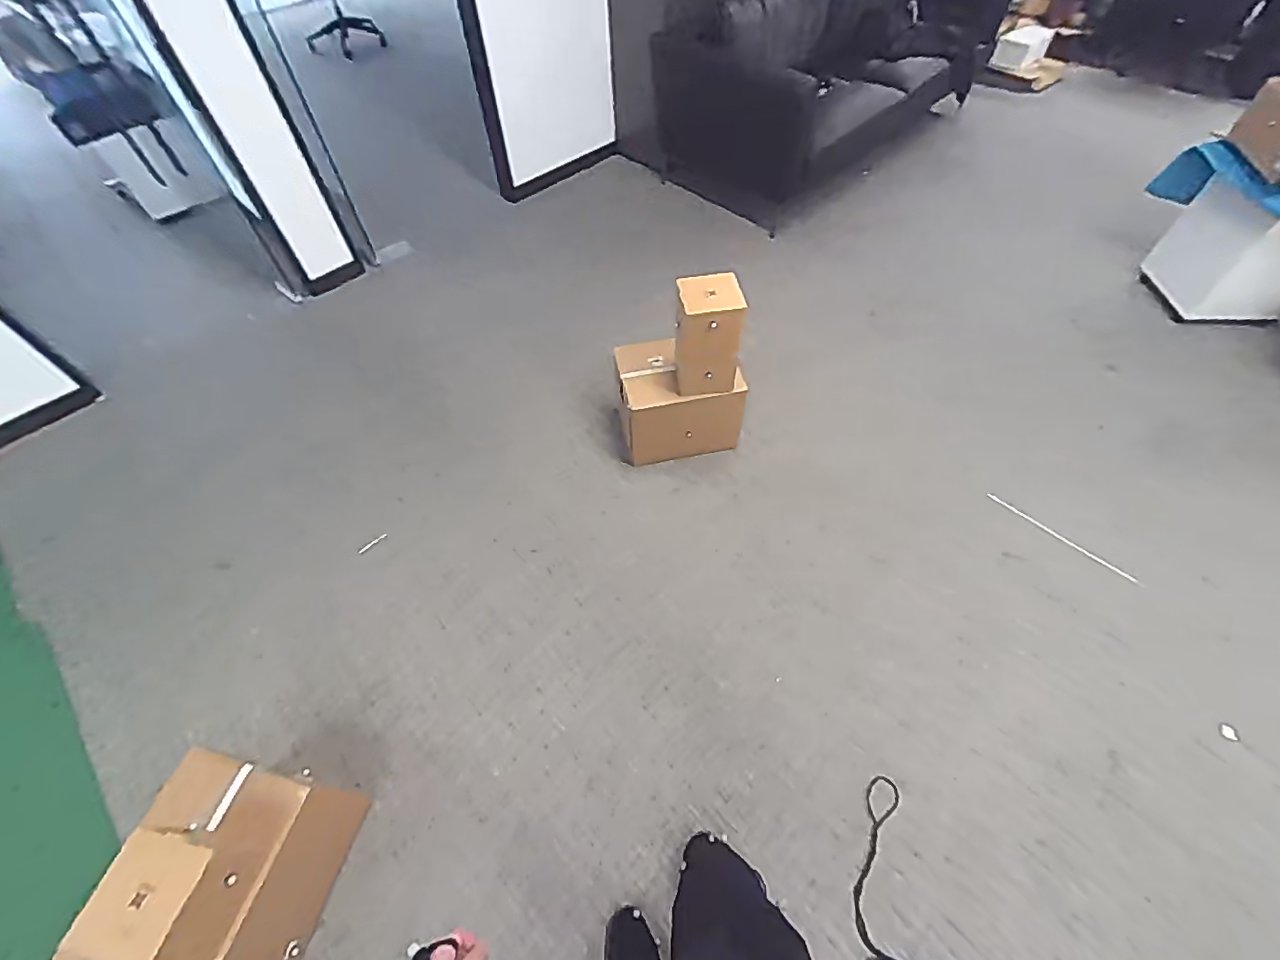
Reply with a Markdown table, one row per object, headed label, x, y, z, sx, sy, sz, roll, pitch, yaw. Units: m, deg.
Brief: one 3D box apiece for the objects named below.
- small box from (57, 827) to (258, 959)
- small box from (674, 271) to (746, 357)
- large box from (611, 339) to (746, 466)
| label | x | y | z | sx | sy | sz | roll | pitch | yaw |
| --- | --- | --- | --- | --- | --- | --- | --- | --- | --- |
| small box | -0.830 | 0.743 | 0.960 | 0.168 | 0.176 | 0.179 | 11 | 57 | 9 |
| small box | 0.200 | -0.488 | 1.603 | 0.179 | 0.176 | 0.168 | -9 | 56 | -3 |
| large box | 0.130 | -0.290 | 1.964 | 0.408 | 0.320 | 0.320 | -12 | 55 | -6 |
